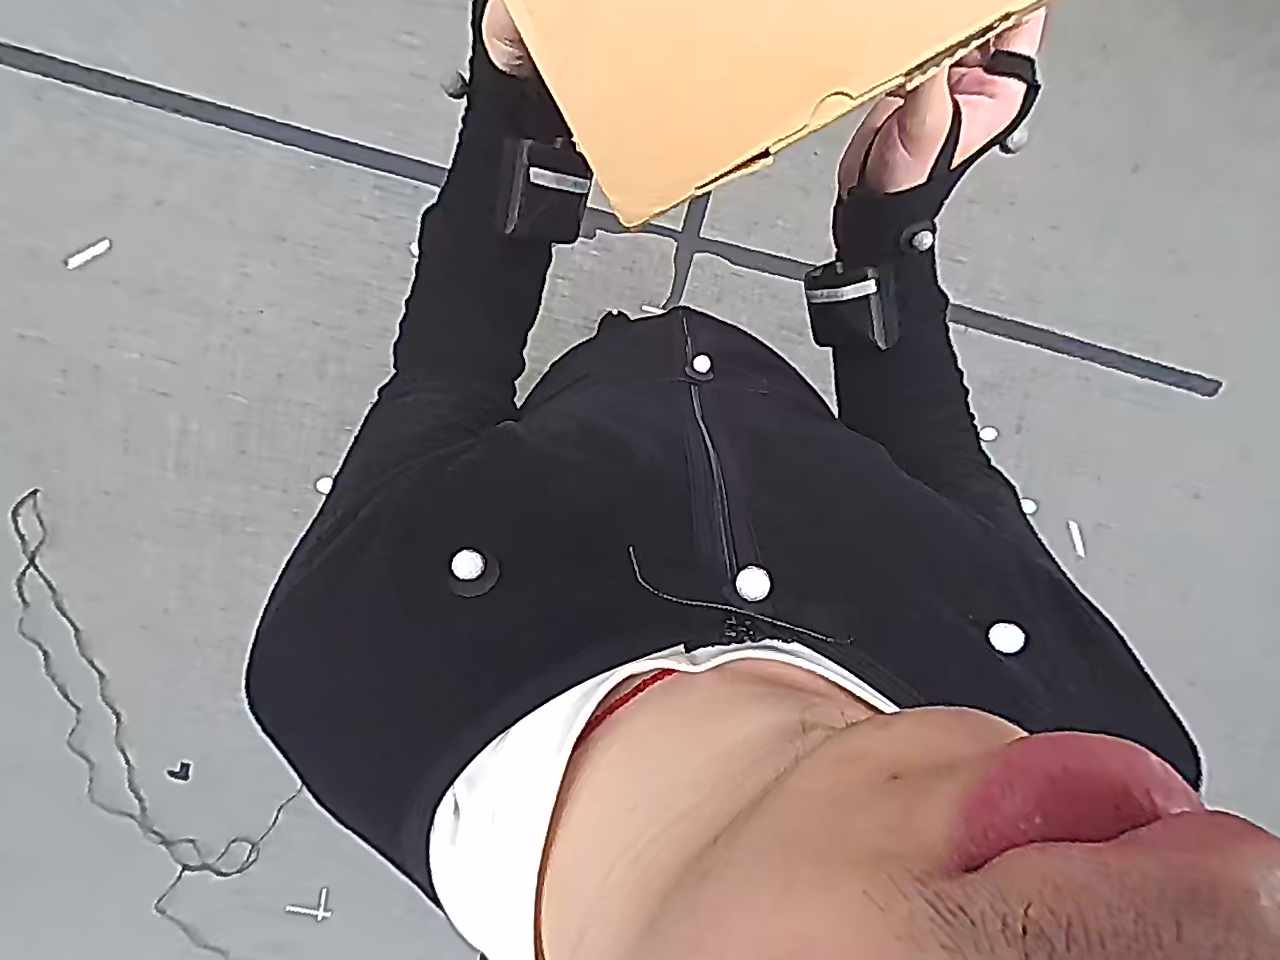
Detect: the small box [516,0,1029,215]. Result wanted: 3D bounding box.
[{"bbox_3d":[0.036,-0.244,0.206,0.168,0.176,0.179,-19,124,25],"label":"small box"}]
